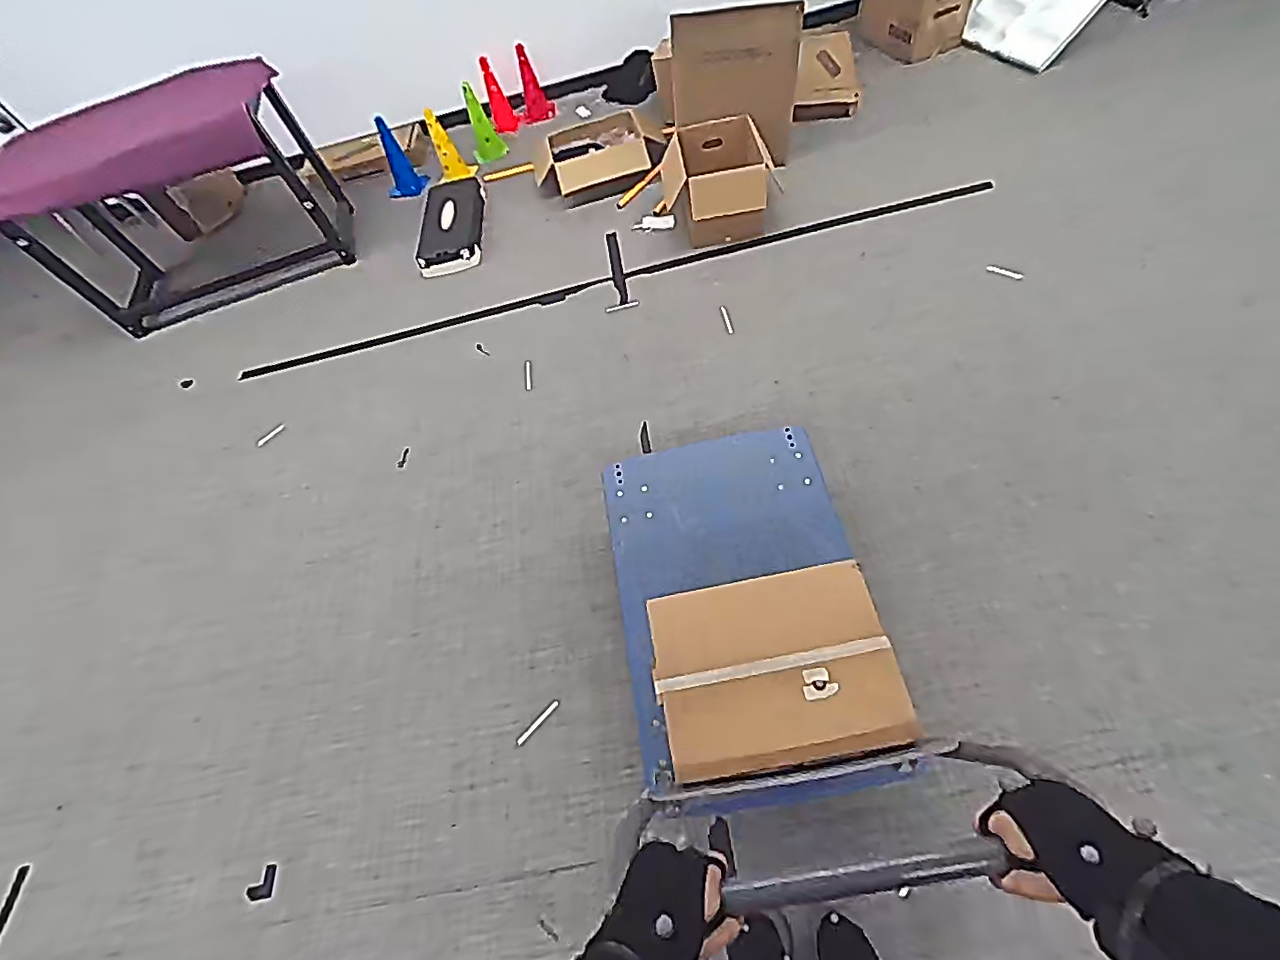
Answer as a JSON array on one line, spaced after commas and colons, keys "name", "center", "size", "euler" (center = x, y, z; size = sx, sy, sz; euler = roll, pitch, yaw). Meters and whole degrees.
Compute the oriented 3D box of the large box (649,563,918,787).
[{"name": "large box", "center": [0.255, 0.399, 1.087], "size": [0.408, 0.320, 0.320], "euler": [-12, 63, 2]}]
